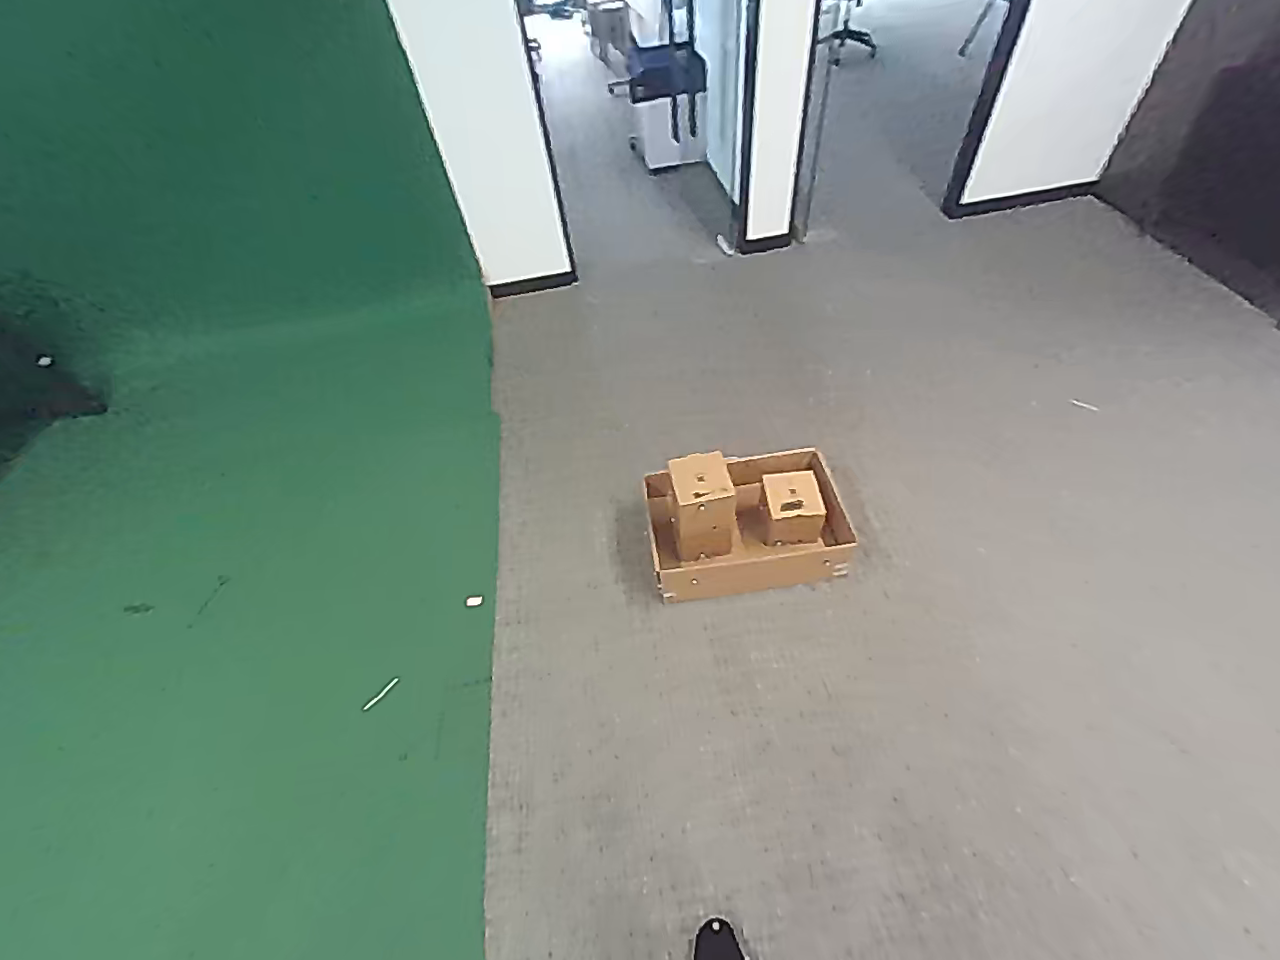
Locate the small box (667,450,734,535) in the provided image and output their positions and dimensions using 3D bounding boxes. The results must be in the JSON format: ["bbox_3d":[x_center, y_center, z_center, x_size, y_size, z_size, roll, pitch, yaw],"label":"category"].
[{"bbox_3d":[0.178,0.038,1.626,0.168,0.176,0.179,-11,51,-2],"label":"small box"}]
